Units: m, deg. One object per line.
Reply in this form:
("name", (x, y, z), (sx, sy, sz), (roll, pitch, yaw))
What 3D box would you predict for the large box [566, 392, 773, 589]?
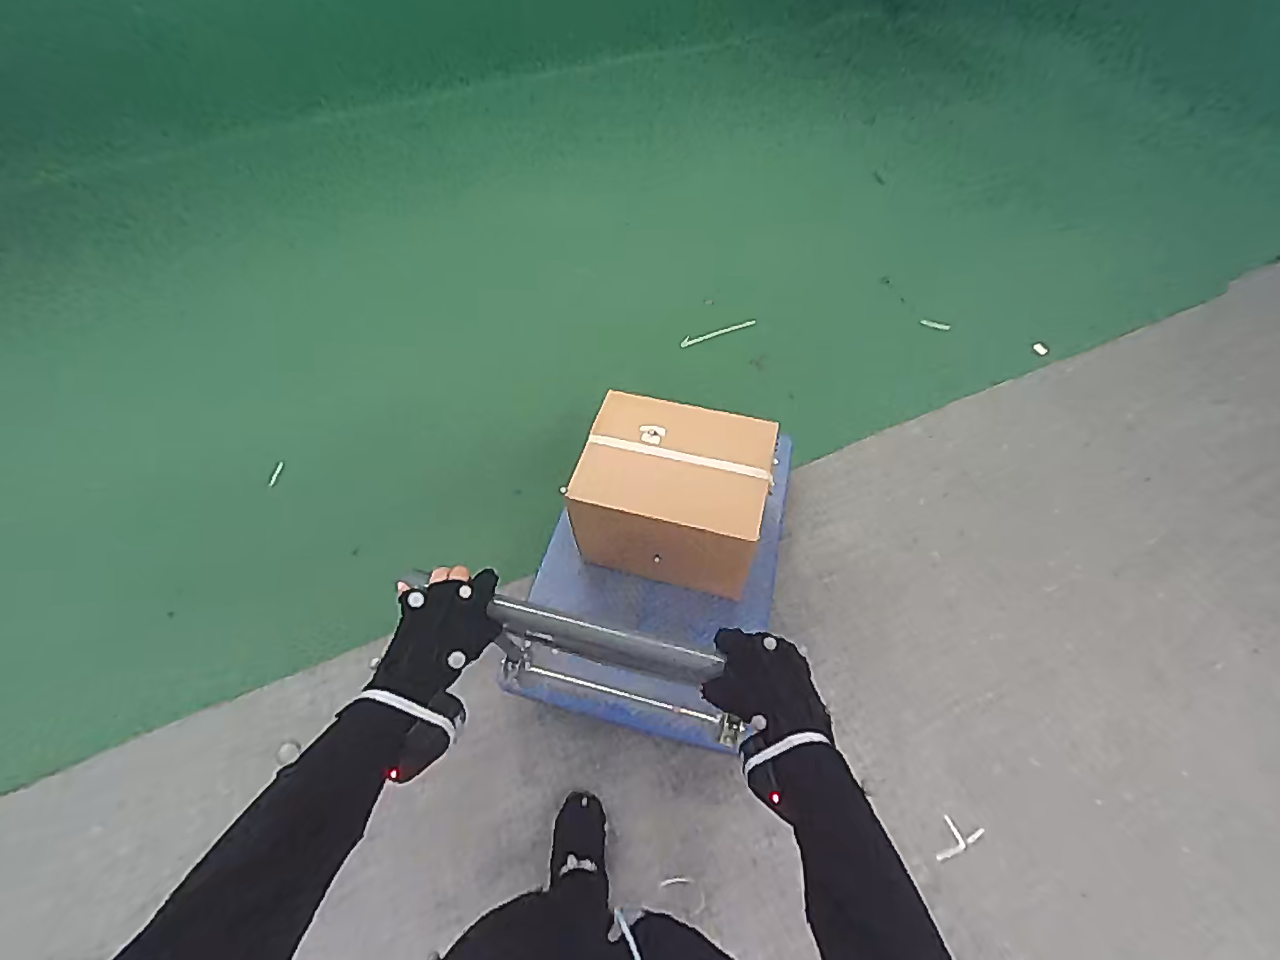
("large box", (0.082, 0.030, 1.303), (0.408, 0.320, 0.320), (12, 57, 11))
